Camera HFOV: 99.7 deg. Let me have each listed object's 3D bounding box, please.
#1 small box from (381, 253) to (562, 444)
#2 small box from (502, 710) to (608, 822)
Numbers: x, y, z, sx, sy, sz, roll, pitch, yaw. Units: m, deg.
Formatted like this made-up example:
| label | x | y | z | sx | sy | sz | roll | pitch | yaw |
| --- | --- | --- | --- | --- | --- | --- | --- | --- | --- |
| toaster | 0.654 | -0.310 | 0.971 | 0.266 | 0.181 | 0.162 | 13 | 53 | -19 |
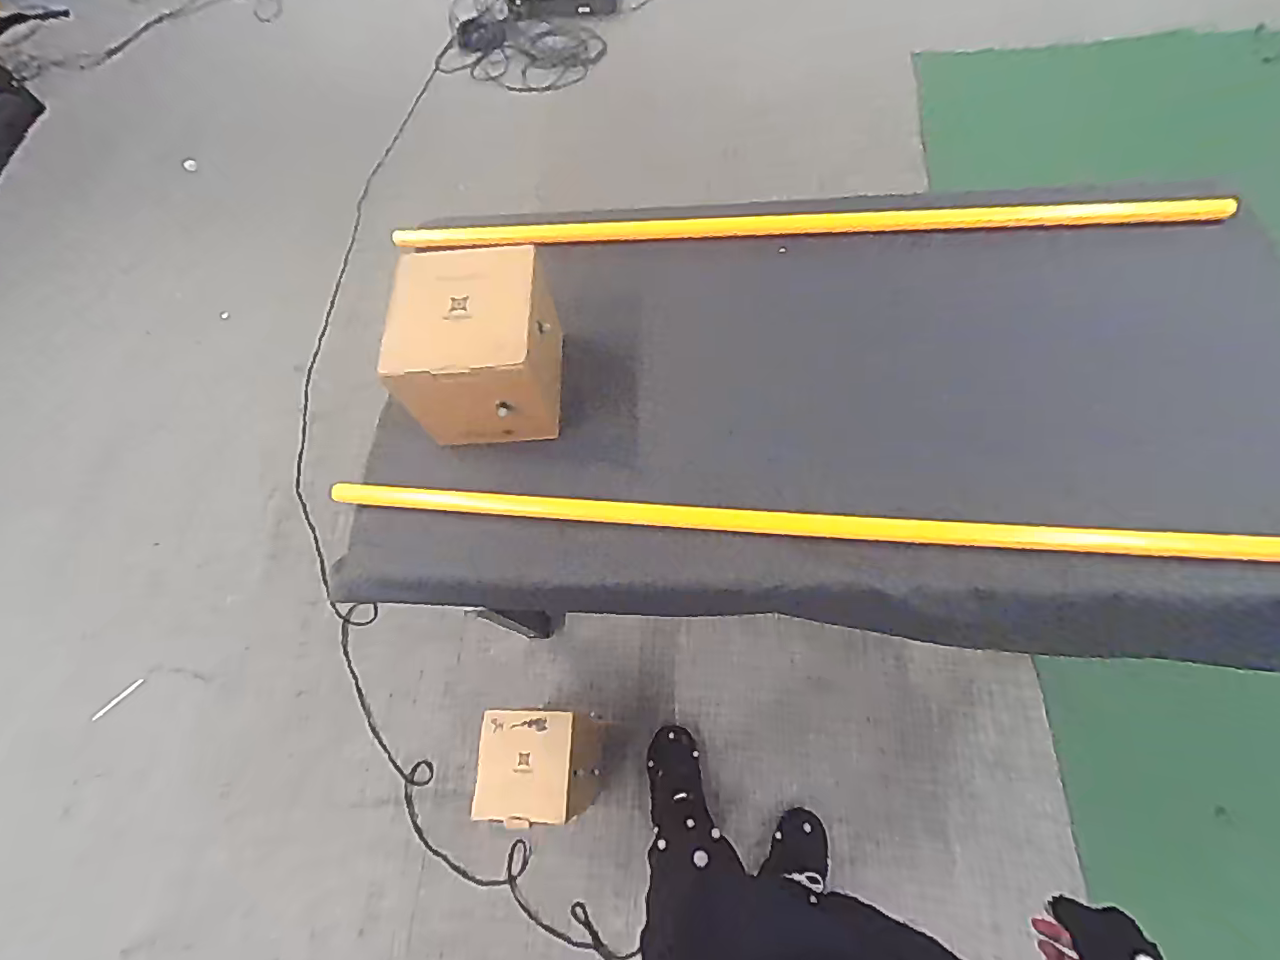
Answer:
| label | x | y | z | sx | sy | sz | roll | pitch | yaw |
| --- | --- | --- | --- | --- | --- | --- | --- | --- | --- |
| small box | -0.198 | -0.156 | 0.690 | 0.168 | 0.176 | 0.179 | -3 | 64 | 3 |
| small box | -0.171 | 0.600 | 1.155 | 0.168 | 0.176 | 0.179 | 8 | 68 | 10 |
